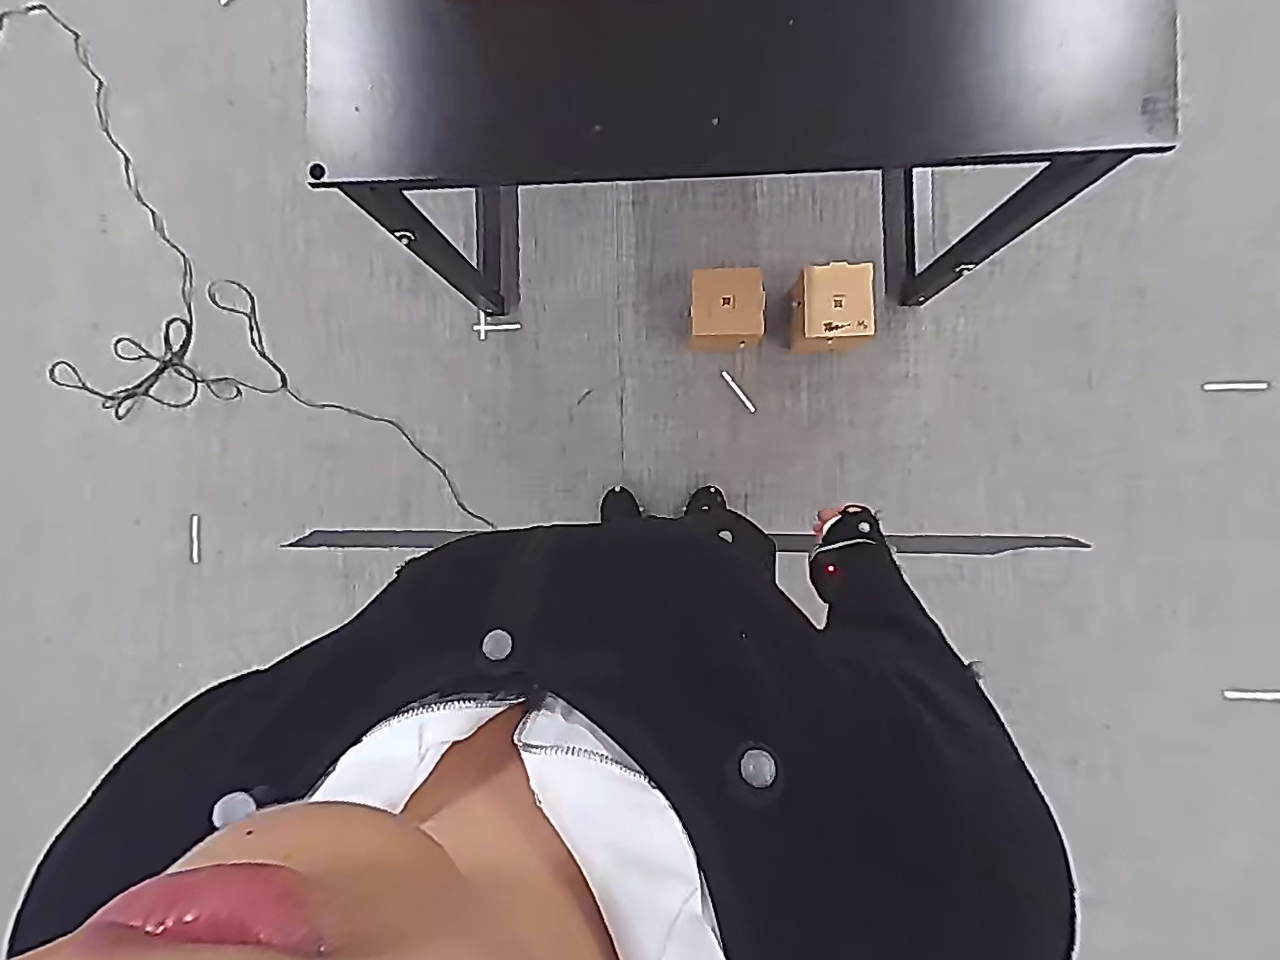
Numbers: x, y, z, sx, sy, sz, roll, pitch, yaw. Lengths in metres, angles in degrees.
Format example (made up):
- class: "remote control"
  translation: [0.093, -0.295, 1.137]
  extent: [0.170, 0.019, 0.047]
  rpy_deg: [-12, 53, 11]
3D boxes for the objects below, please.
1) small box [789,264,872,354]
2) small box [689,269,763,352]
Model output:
- class: "small box"
  translation: [0.480, -0.433, 1.384]
  extent: [0.168, 0.176, 0.179]
  rpy_deg: [-1, 90, 4]
- class: "small box"
  translation: [0.218, -0.435, 1.403]
  extent: [0.179, 0.176, 0.168]
  rpy_deg: [-1, 89, 5]
